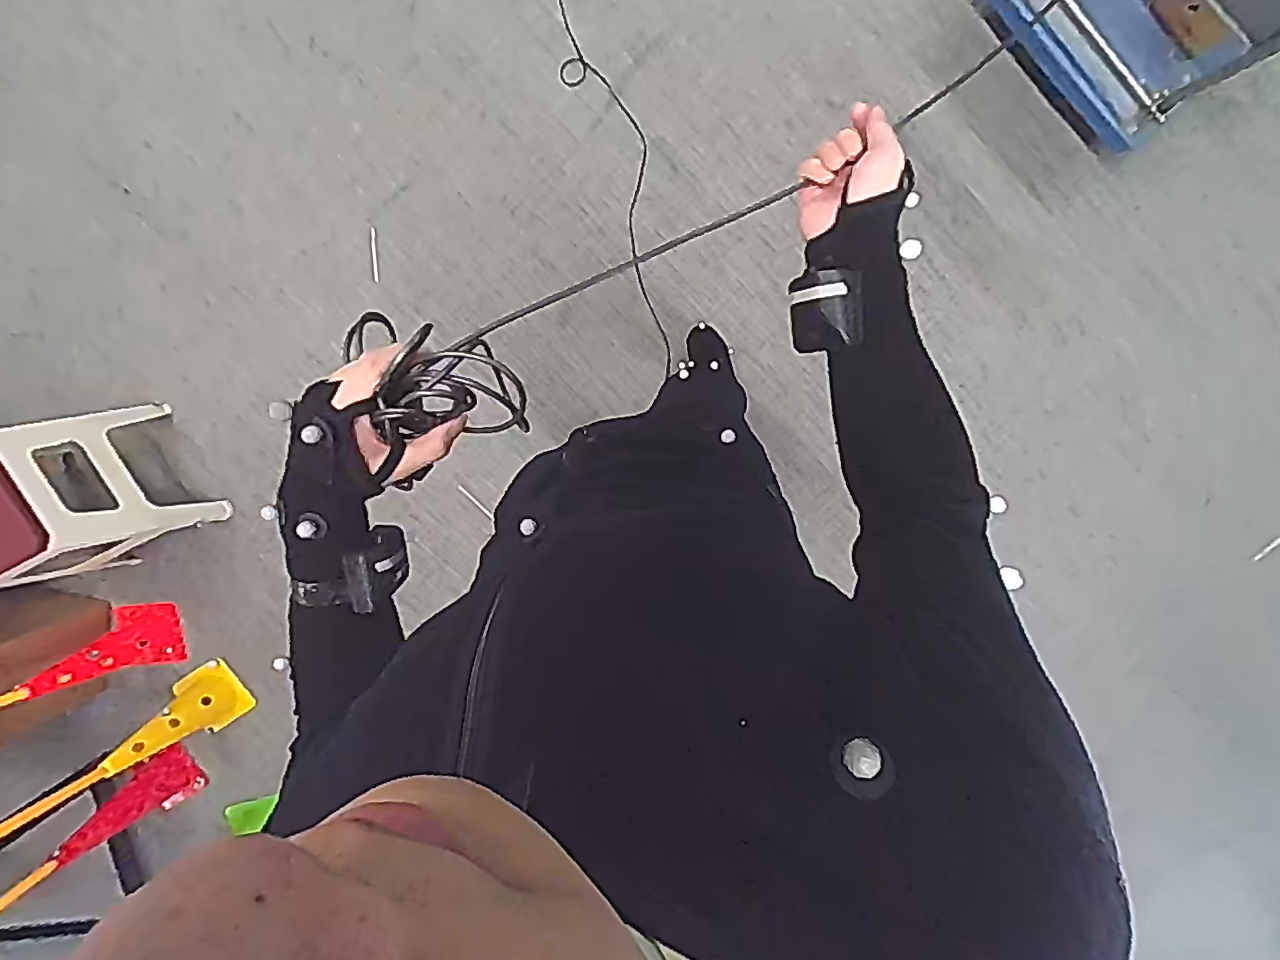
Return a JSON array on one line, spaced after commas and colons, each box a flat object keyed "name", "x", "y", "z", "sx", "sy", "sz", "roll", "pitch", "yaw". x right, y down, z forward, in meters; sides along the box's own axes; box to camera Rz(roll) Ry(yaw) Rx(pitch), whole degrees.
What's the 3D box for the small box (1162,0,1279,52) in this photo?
[{"name": "small box", "x": 1.308, "y": -1.093, "z": 1.162, "sx": 0.179, "sy": 0.176, "sz": 0.168, "roll": -43, "pitch": 96, "yaw": 8}]
